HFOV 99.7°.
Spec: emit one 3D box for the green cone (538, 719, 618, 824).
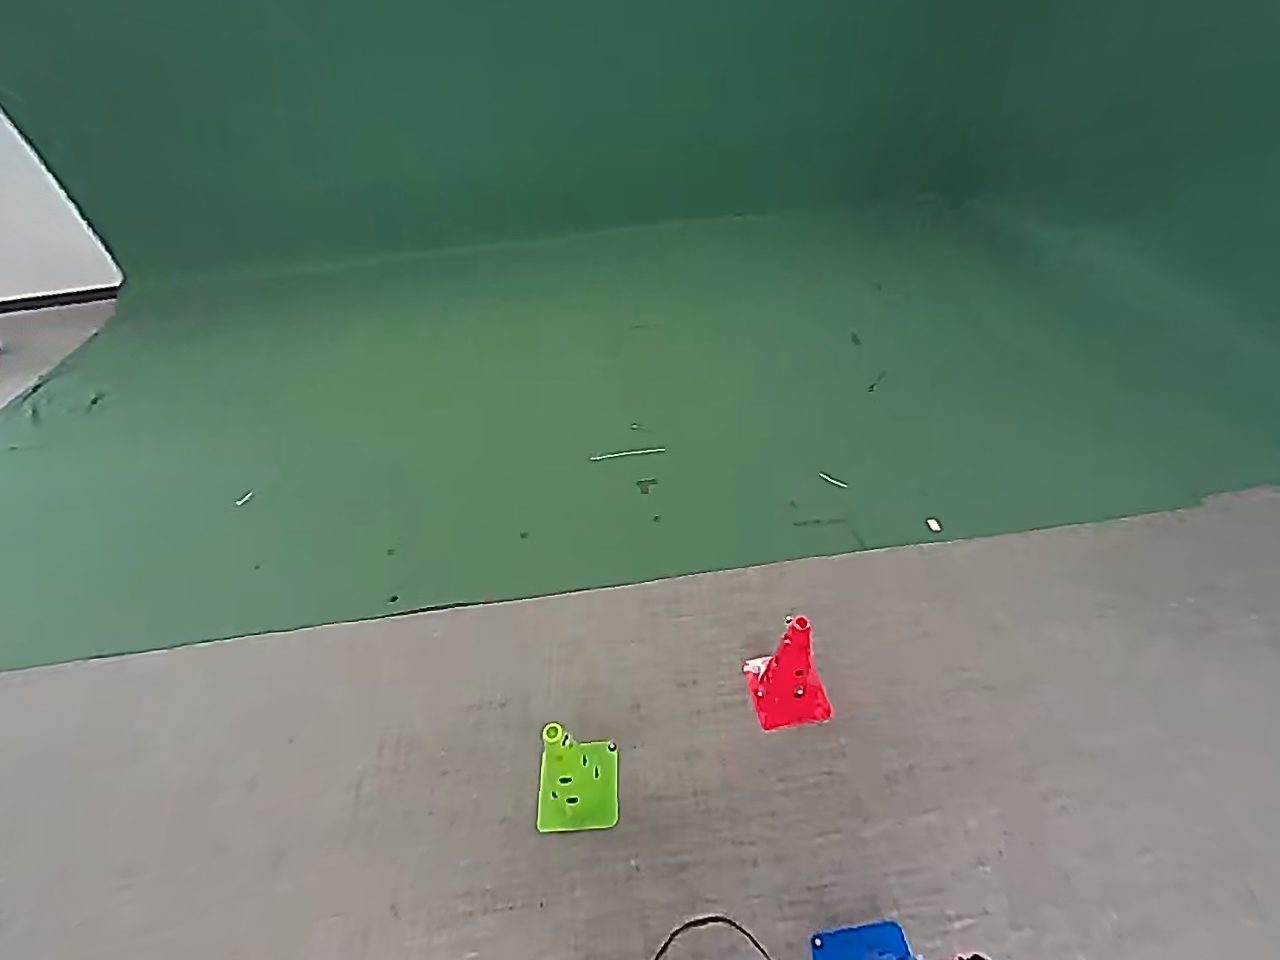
[{"bbox_3d":[-0.172,0.640,1.261,0.200,0.368,0.202,-6,46,1],"label":"green cone"}]
